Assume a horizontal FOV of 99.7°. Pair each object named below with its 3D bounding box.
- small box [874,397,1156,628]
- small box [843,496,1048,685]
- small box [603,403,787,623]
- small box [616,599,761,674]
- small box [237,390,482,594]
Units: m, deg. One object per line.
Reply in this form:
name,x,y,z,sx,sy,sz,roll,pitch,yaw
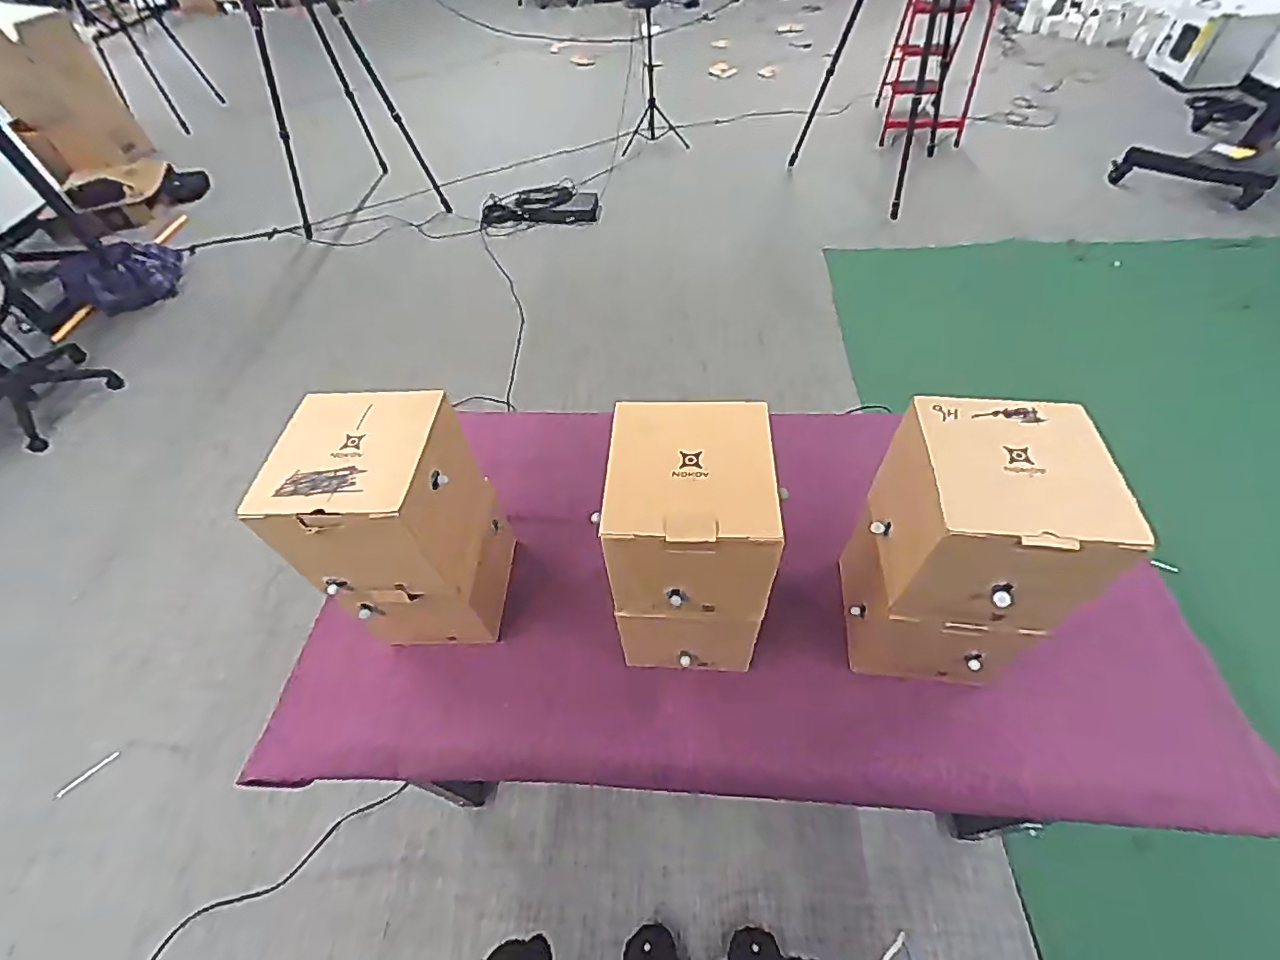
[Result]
small box,0.358,0.038,0.563,0.168,0.176,0.179,5,53,7
small box,0.366,0.143,0.689,0.168,0.176,0.179,5,51,8
small box,0.056,0.036,0.589,0.168,0.176,0.179,1,53,4
small box,0.065,0.137,0.716,0.168,0.176,0.179,1,52,6
small box,-0.297,0.018,0.624,0.168,0.176,0.179,3,52,4
